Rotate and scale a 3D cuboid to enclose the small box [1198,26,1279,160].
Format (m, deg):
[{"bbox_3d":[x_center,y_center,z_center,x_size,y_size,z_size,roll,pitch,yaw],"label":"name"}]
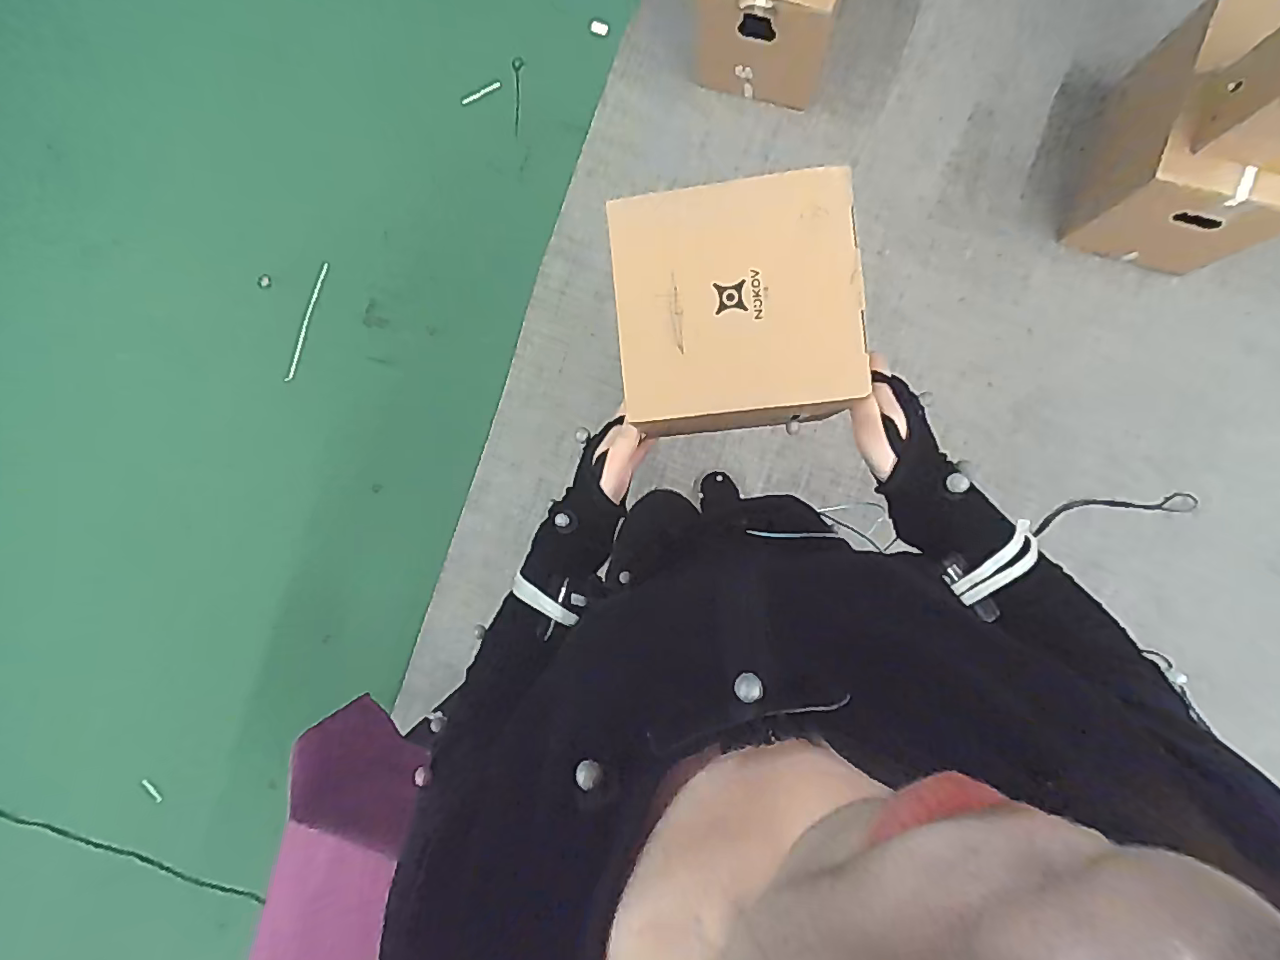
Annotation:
[{"bbox_3d":[1.173,-0.701,0.955,0.179,0.176,0.168,17,94,8],"label":"small box"}]

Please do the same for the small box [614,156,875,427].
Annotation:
[{"bbox_3d":[0.081,-0.139,0.463,0.179,0.176,0.168,-5,90,7],"label":"small box"}]

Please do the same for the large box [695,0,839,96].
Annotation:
[{"bbox_3d":[0.335,-1.234,1.286,0.320,0.320,0.408,19,93,7],"label":"large box"}]
